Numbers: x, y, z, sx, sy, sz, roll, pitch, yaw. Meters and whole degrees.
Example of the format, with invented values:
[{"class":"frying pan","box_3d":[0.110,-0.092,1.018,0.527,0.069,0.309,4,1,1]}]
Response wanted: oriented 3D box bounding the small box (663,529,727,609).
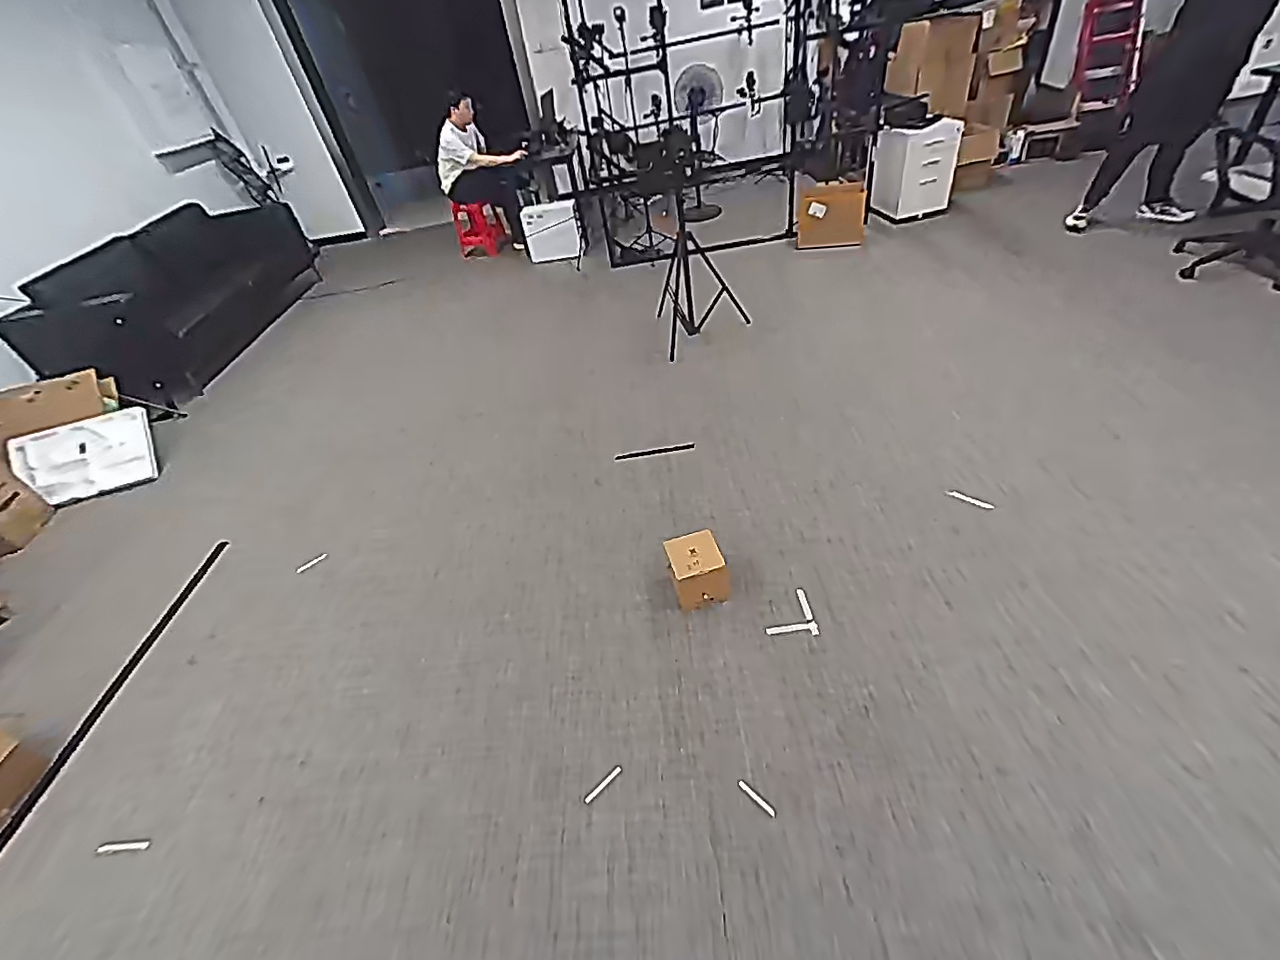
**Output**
[{"class":"small box","box_3d":[0.185,0.300,1.819,0.168,0.176,0.179,-16,41,-4]}]
